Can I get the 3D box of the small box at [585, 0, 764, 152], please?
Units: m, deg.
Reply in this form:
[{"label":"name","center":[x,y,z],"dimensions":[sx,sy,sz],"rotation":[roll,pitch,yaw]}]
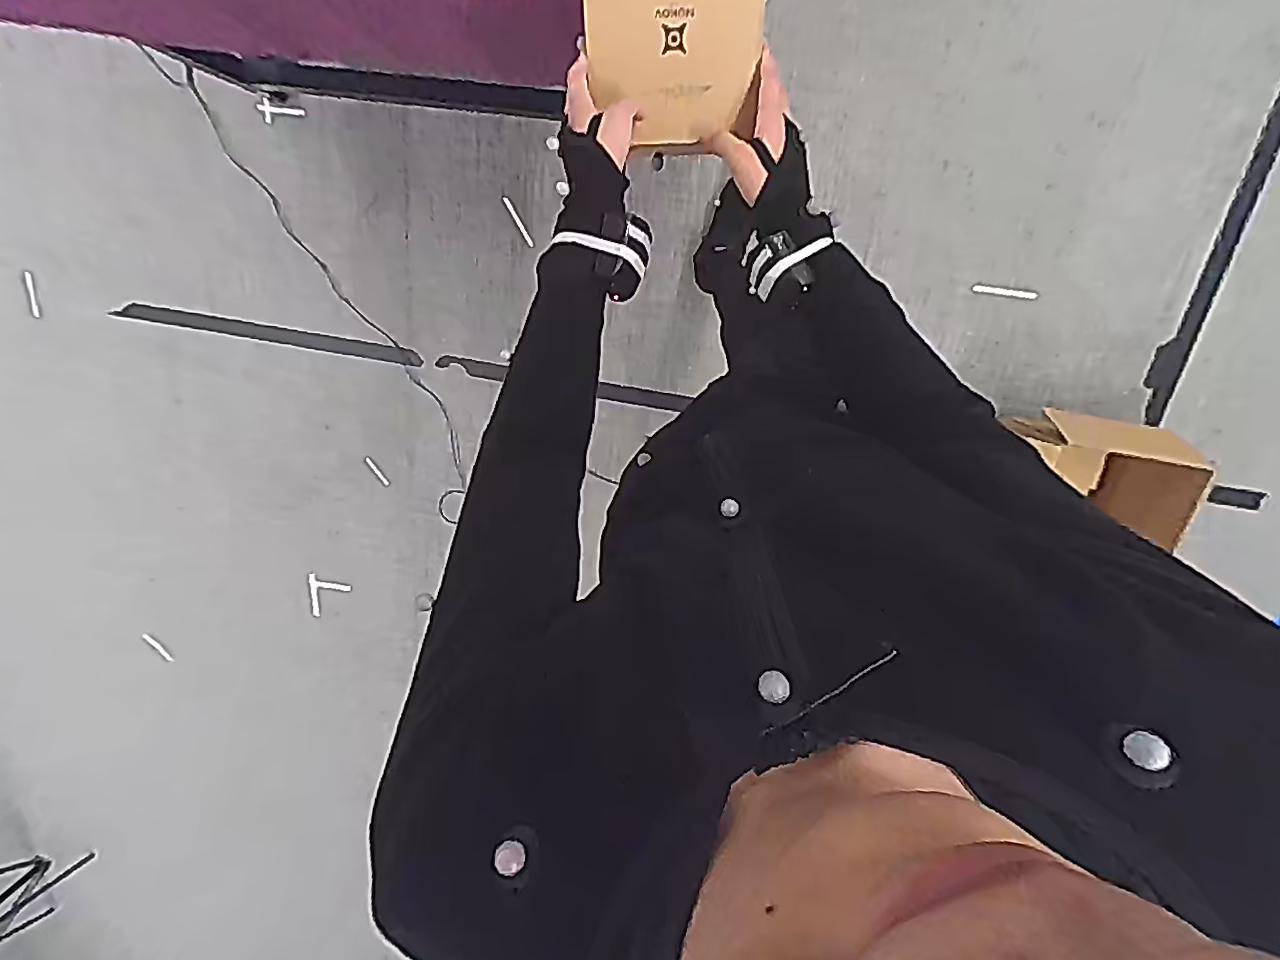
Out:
[{"label":"small box","center":[0.033,-0.454,0.566],"dimensions":[0.168,0.176,0.179],"rotation":[0,117,3]}]
